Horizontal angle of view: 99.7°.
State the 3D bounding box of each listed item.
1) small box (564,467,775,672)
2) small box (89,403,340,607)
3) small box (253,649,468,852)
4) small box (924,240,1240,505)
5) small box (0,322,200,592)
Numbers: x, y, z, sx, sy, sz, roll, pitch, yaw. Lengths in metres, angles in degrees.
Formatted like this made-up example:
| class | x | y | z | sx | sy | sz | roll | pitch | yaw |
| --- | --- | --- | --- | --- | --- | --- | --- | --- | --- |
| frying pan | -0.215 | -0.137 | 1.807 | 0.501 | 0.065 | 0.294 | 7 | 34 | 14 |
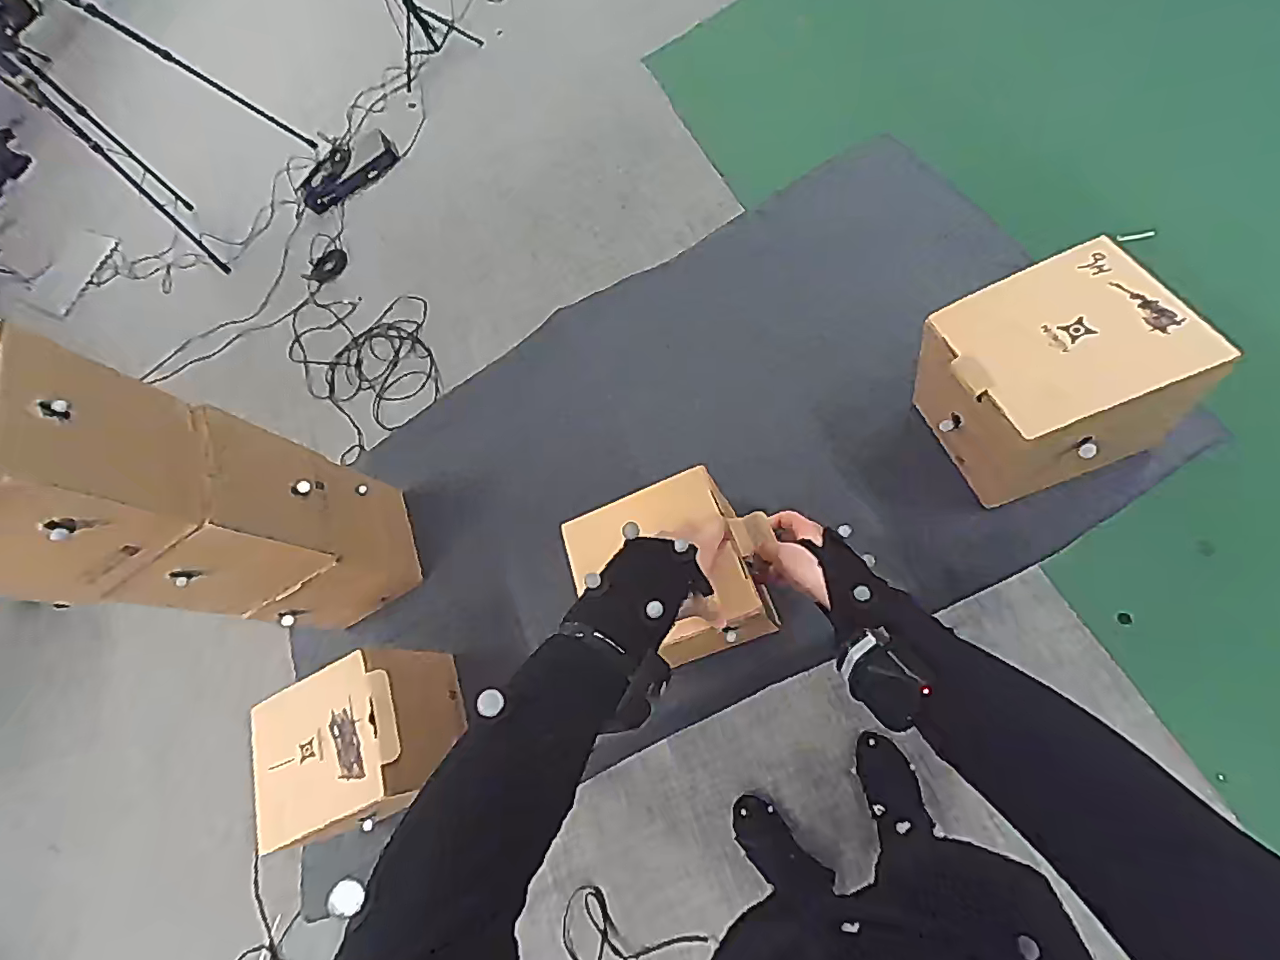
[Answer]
| class | x | y | z | sx | sy | sz | roll | pitch | yaw |
| --- | --- | --- | --- | --- | --- | --- | --- | --- | --- |
| small box | 0.040 | 0.115 | 0.627 | 0.179 | 0.176 | 0.168 | -24 | 64 | 10 |
| small box | -0.510 | 0.043 | 0.664 | 0.179 | 0.176 | 0.168 | -29 | 65 | 8 |
| small box | -0.340 | 0.327 | 0.683 | 0.179 | 0.176 | 0.168 | -28 | 64 | 9 |
| small box | 0.417 | -0.096 | 0.557 | 0.179 | 0.176 | 0.168 | -24 | 60 | 12 |
| small box | -0.568 | -0.006 | 0.520 | 0.168 | 0.176 | 0.179 | -32 | 63 | 5 |
